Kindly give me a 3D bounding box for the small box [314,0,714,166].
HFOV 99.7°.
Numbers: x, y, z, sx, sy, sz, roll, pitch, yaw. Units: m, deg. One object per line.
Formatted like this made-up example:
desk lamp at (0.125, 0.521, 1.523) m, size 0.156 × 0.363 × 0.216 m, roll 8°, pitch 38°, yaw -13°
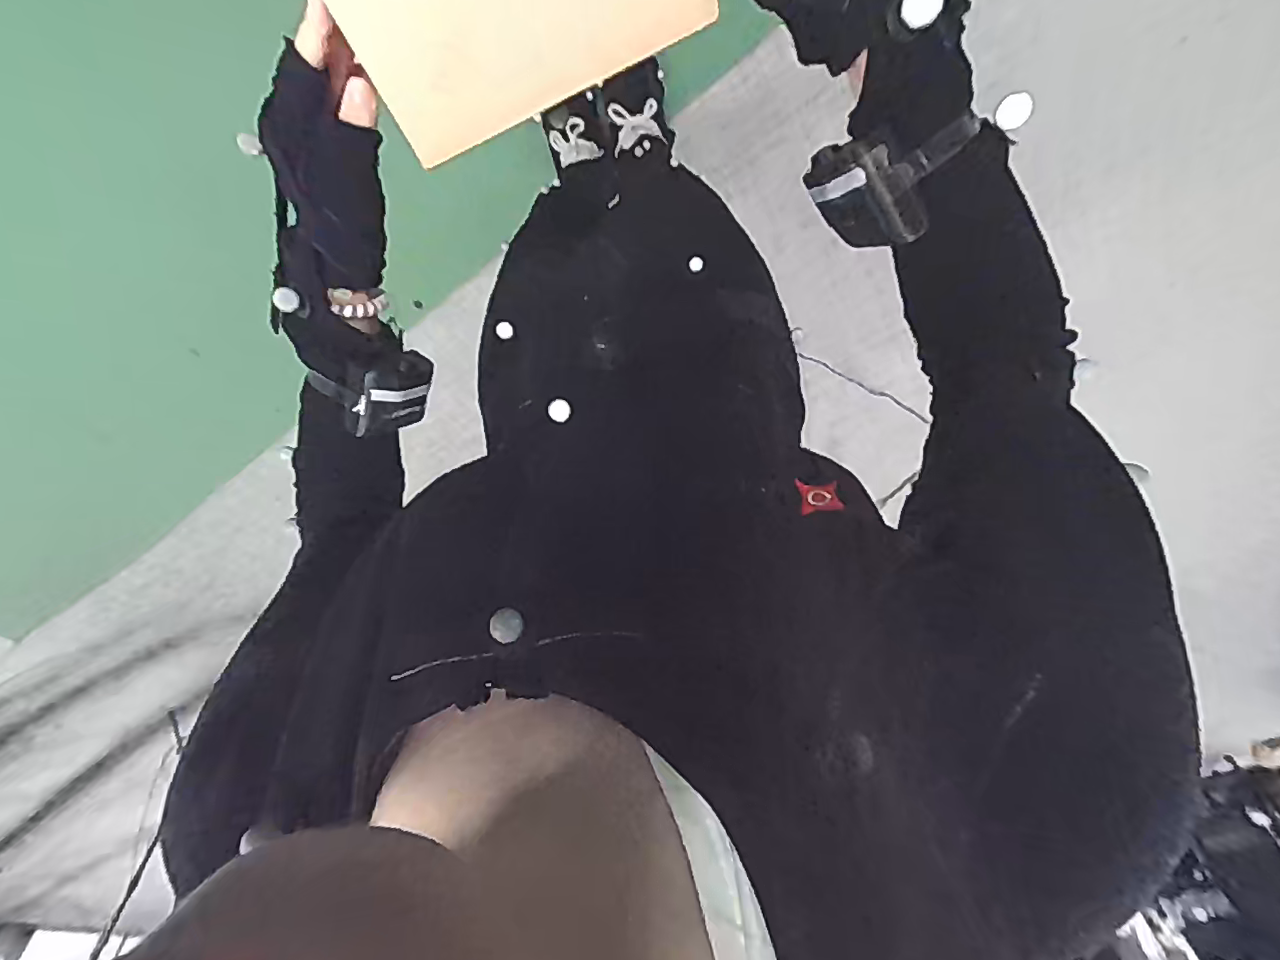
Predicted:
small box at (-0.078, -0.303, 0.287) m, size 0.179 × 0.176 × 0.168 m, roll -20°, pitch 132°, yaw 10°
